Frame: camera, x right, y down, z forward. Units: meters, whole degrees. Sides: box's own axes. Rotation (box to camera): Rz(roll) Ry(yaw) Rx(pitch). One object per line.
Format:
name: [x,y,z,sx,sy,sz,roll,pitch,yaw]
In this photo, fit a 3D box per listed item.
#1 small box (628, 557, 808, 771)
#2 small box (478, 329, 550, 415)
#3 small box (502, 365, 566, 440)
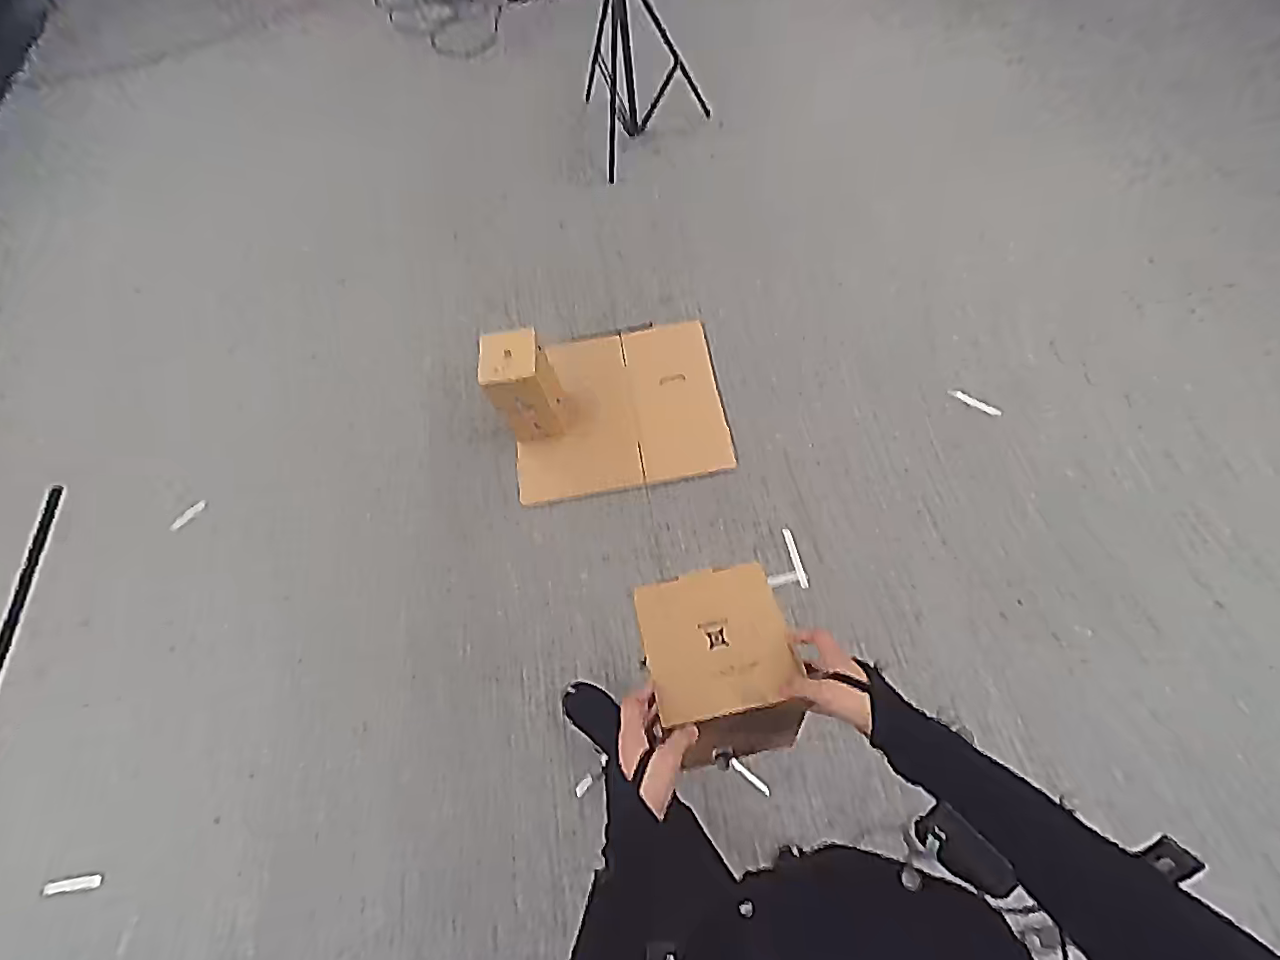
small box: [0.084,0.225,0.663,0.168,0.176,0.179,-11,46,-4]
small box: [-0.369,-0.317,1.604,0.168,0.176,0.179,-8,65,4]
small box: [-0.341,-0.243,1.751,0.168,0.176,0.179,-9,65,2]
